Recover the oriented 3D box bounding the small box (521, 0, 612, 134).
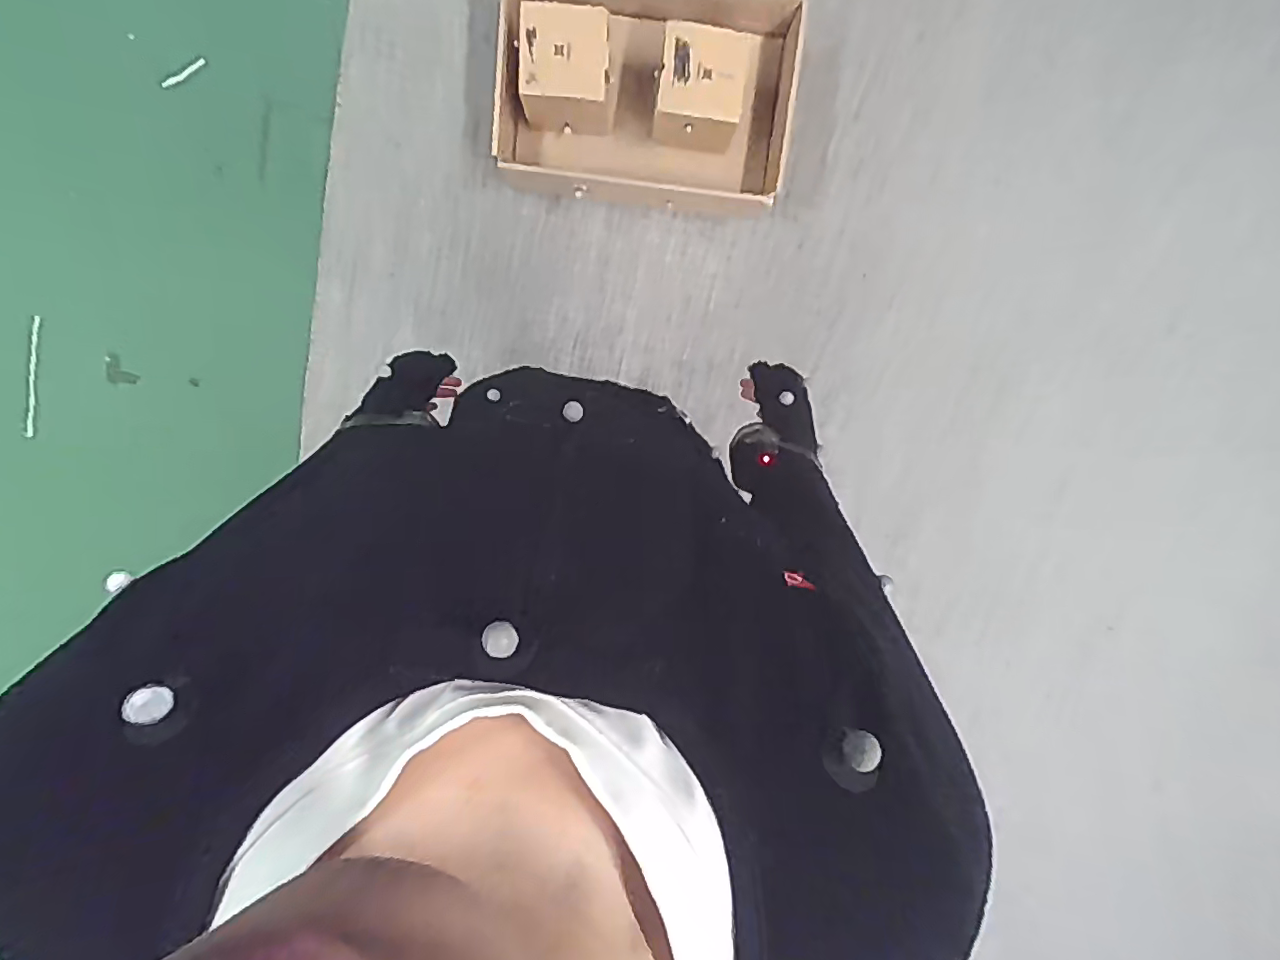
[{"bbox_3d":[-0.153,-0.867,1.153,0.179,0.176,0.168,3,101,-4],"label":"small box"}]

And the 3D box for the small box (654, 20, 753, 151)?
[{"bbox_3d":[0.127,-0.838,1.168,0.179,0.176,0.168,7,101,-3],"label":"small box"}]
